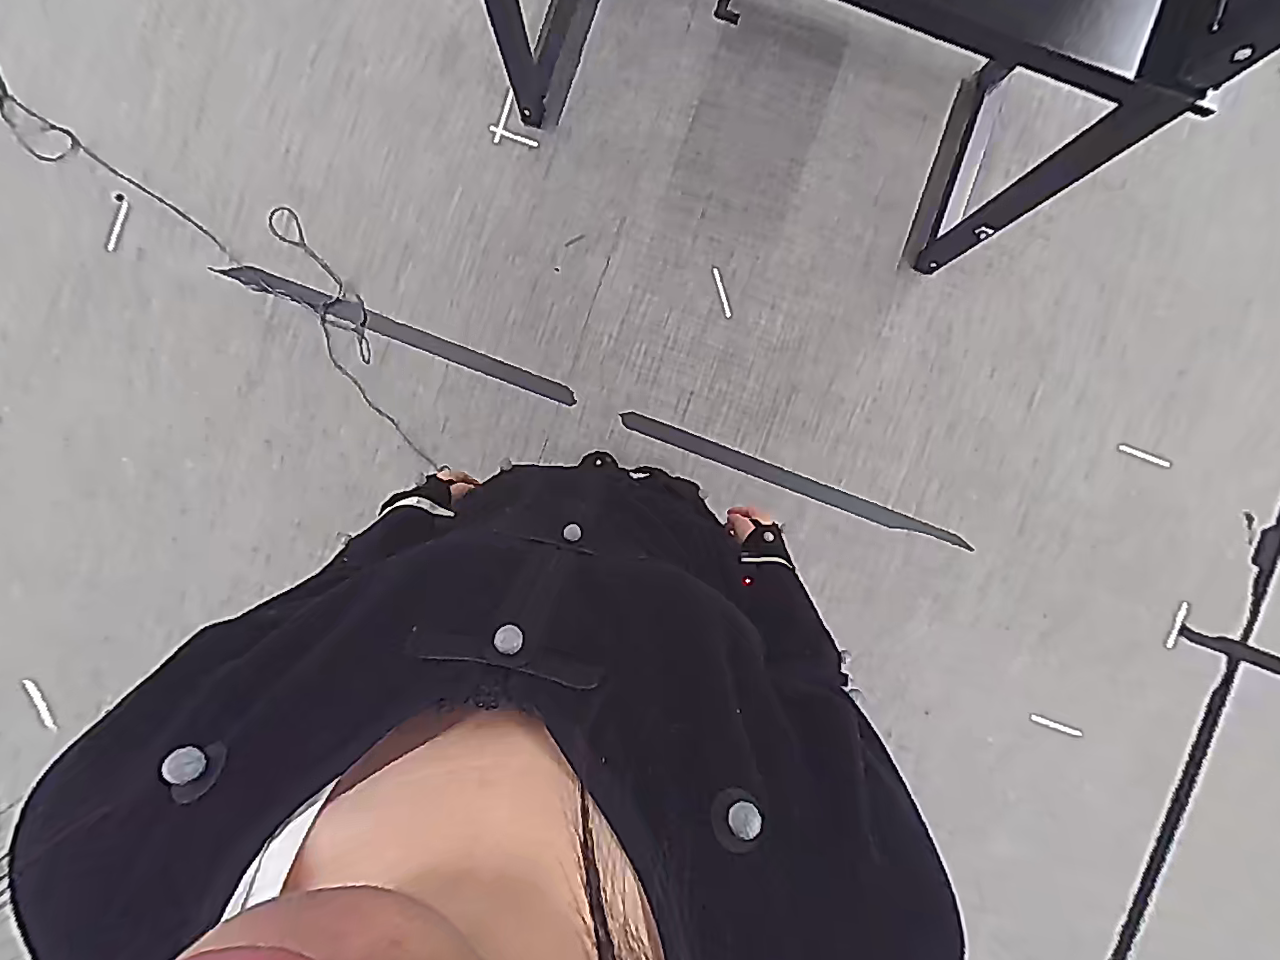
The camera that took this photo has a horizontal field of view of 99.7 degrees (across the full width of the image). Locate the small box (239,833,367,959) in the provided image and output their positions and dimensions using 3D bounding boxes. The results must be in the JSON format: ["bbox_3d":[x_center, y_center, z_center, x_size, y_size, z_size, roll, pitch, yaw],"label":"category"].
[{"bbox_3d":[-0.774,0.981,1.262,0.168,0.176,0.179,23,90,-2],"label":"small box"}]
